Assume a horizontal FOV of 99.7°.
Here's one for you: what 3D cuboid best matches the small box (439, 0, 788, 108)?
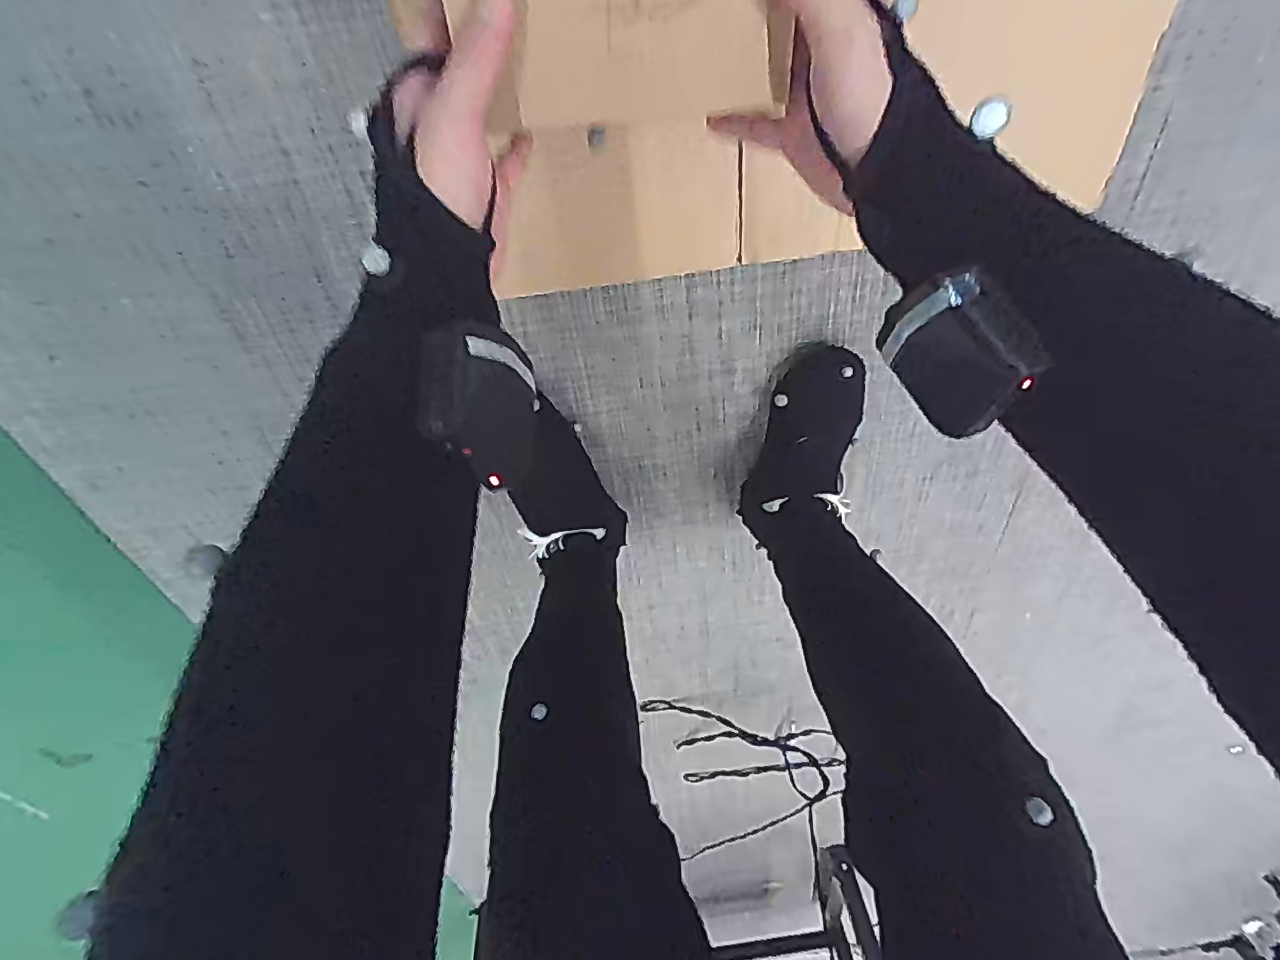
[{"bbox_3d":[-0.021,-0.310,0.287,0.168,0.176,0.179,-6,127,-1],"label":"small box"}]
